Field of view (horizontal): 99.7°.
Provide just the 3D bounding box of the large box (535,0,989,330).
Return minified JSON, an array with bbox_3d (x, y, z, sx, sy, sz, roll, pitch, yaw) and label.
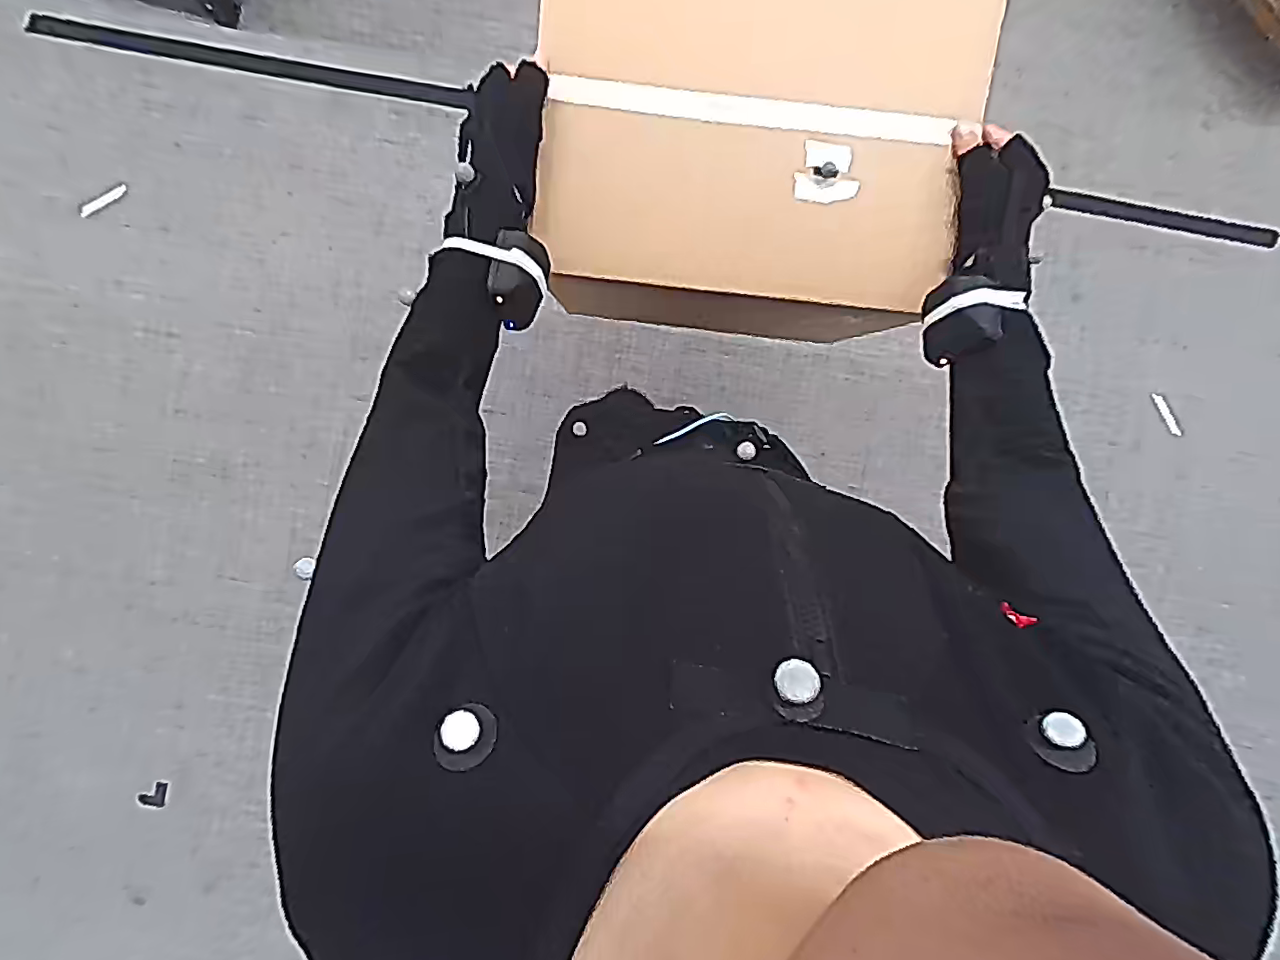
[{"bbox_3d":[0.104,-0.368,0.646,0.408,0.320,0.320,5,100,-2],"label":"large box"}]
